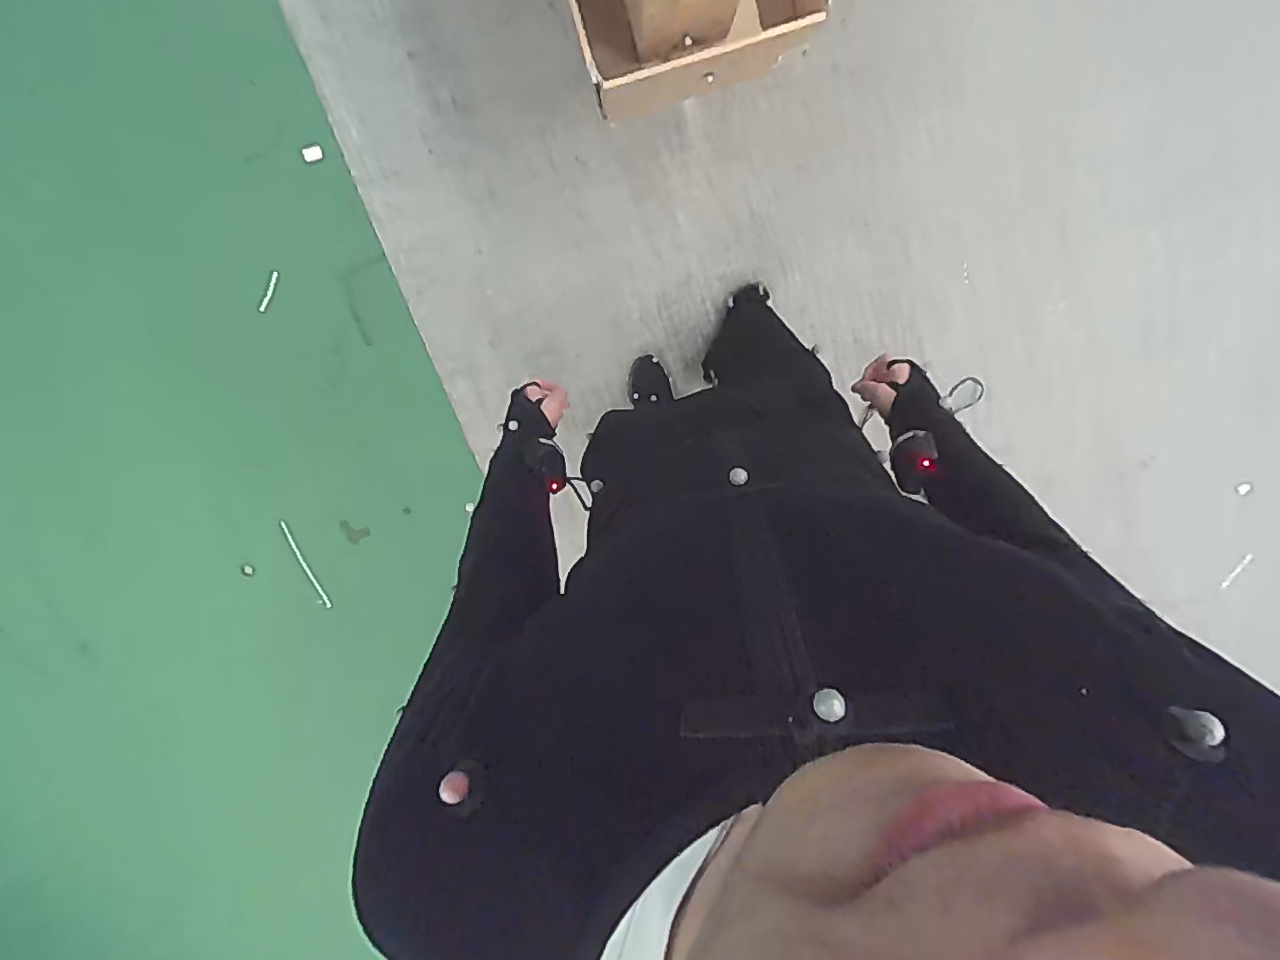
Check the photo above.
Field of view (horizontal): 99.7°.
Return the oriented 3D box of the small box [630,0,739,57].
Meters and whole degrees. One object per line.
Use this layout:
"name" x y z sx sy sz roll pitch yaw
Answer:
"small box" 0.060 -0.829 0.859 0.168 0.176 0.179 -15 106 5
